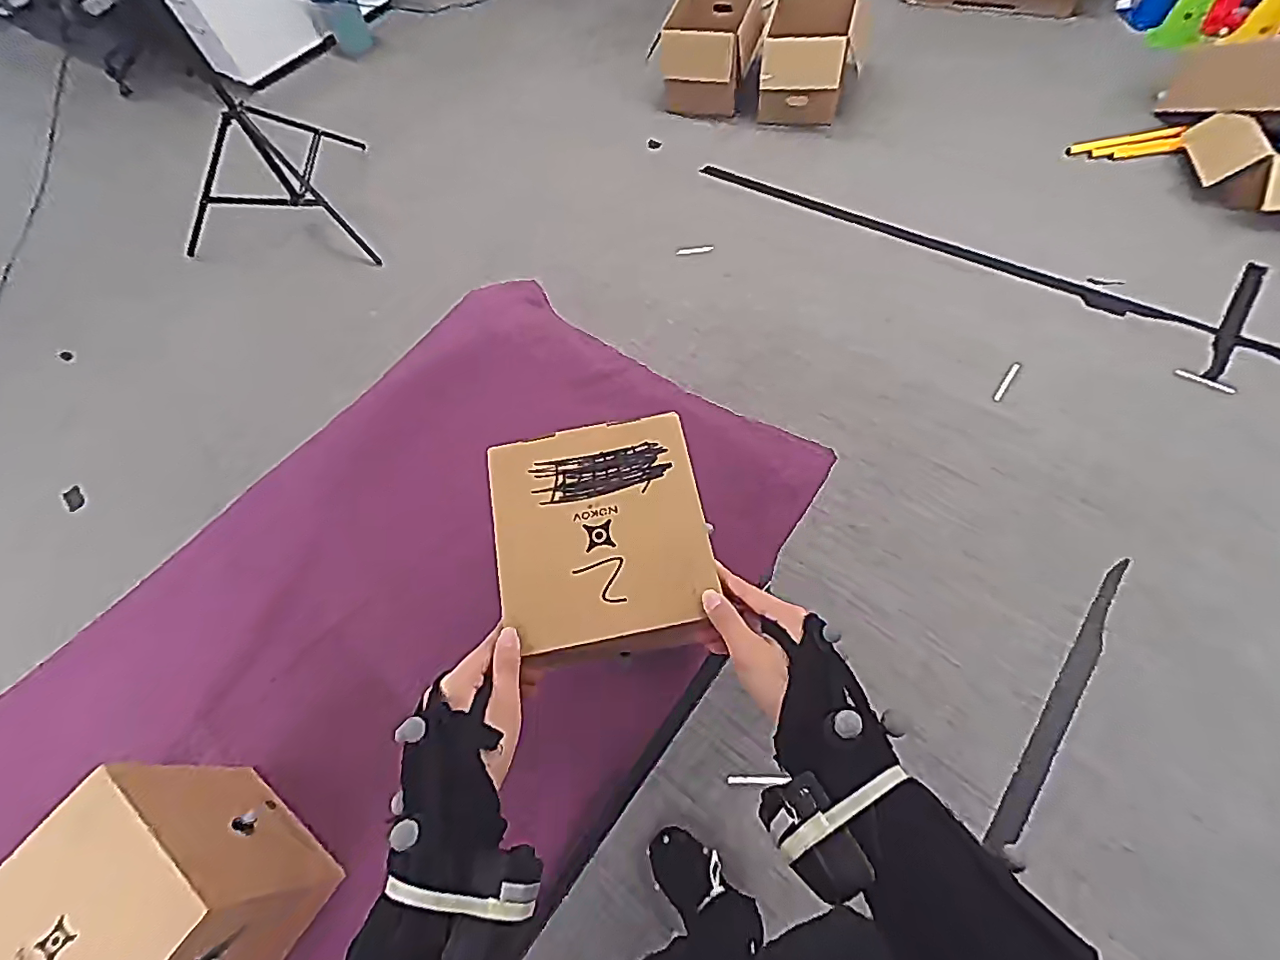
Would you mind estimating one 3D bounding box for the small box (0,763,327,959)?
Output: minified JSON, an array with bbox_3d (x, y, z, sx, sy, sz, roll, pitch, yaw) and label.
[{"bbox_3d":[-0.404,0.369,0.452,0.168,0.176,0.179,27,68,22],"label":"small box"}]
